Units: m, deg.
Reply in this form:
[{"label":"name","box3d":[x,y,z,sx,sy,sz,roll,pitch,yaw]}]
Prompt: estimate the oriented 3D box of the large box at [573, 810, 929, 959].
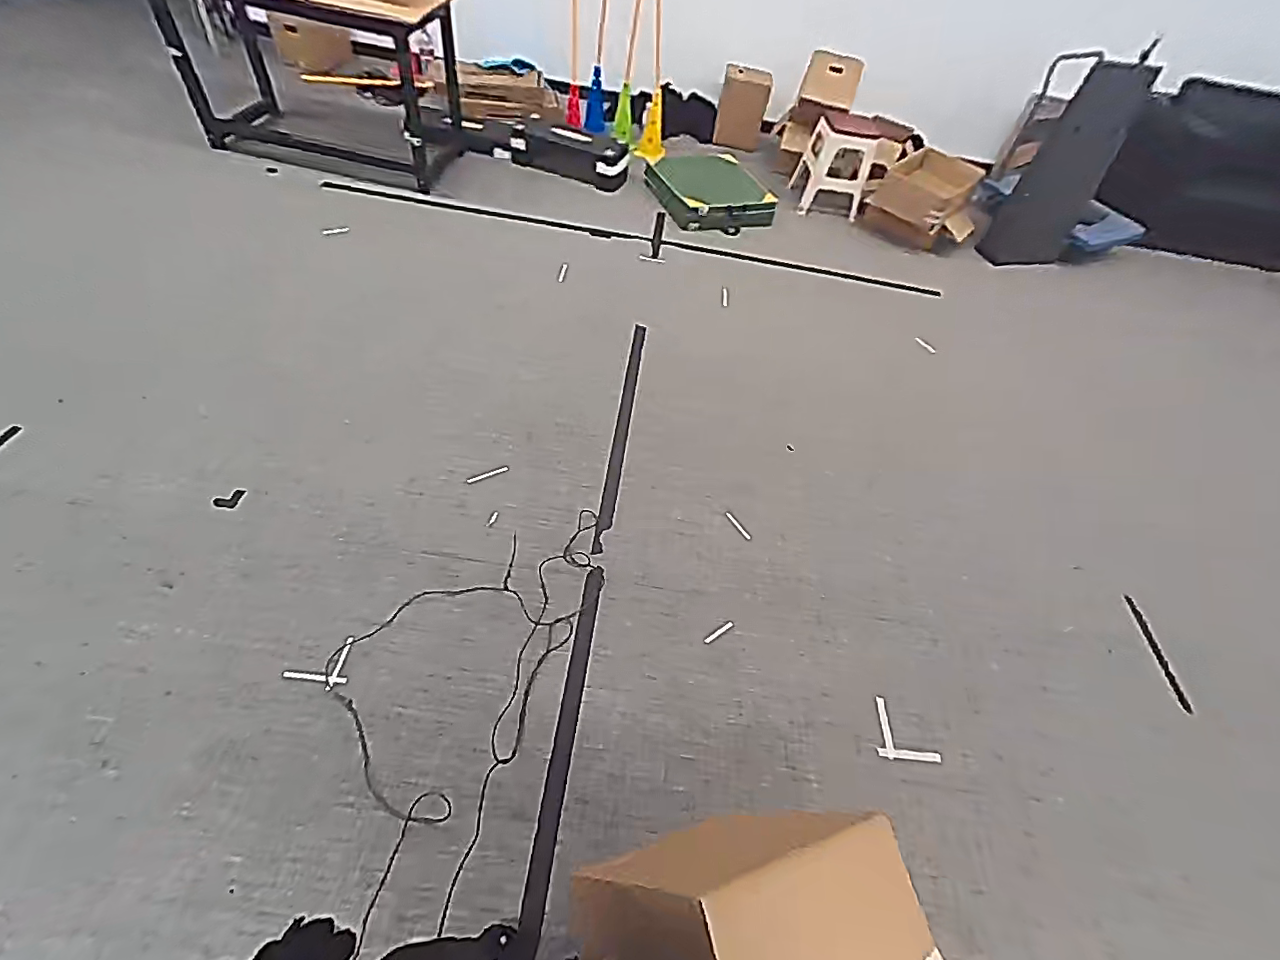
[{"label":"large box","box3d":[0.145,0.684,0.747,0.320,0.408,0.320,0,60,-30]}]
